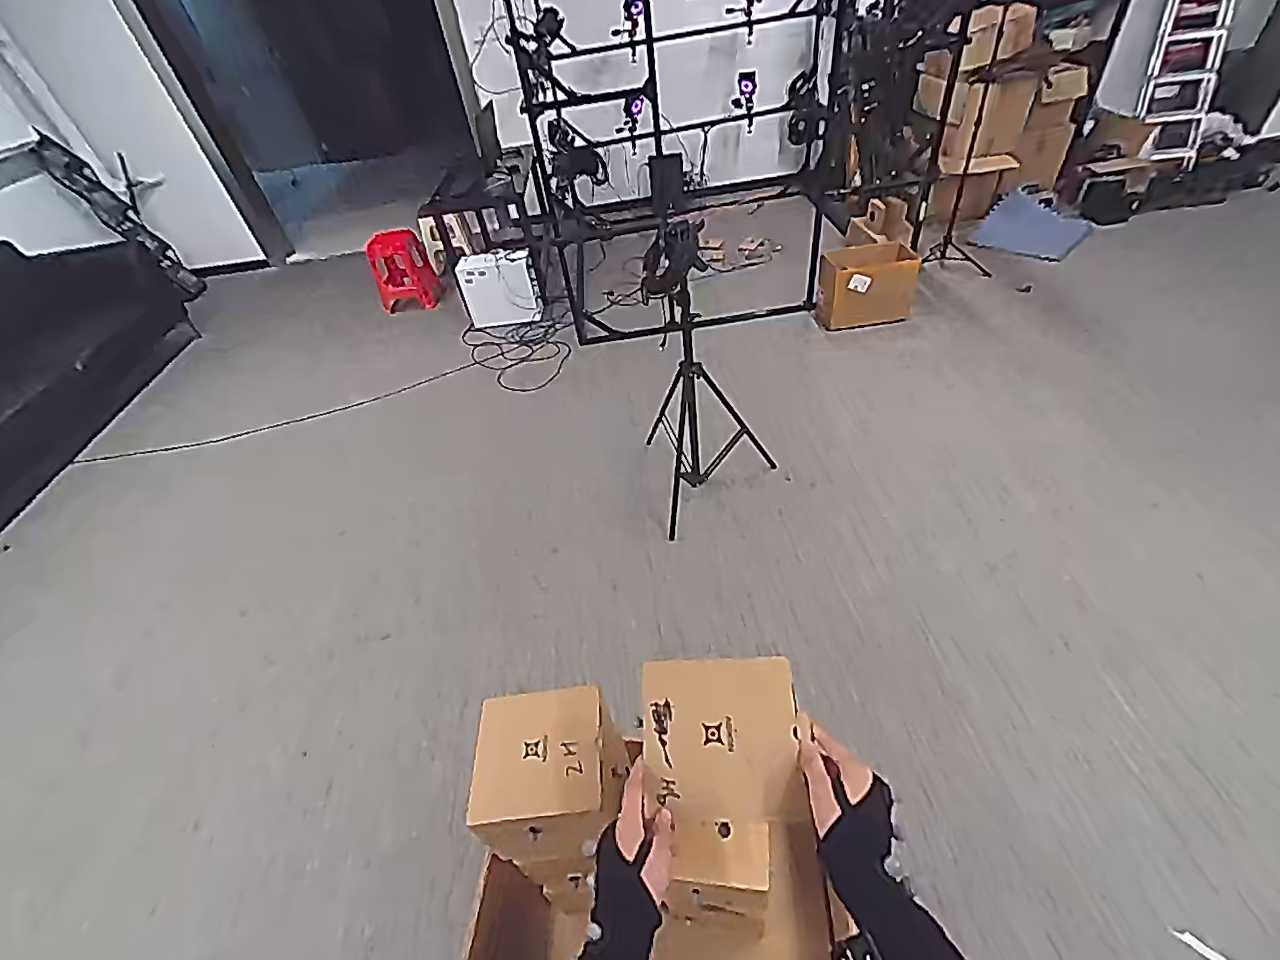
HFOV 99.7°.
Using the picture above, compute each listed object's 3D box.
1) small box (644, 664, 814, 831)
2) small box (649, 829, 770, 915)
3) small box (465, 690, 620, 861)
[{"bbox_3d":[0.097,0.328,0.661,0.179,0.176,0.168,-3,58,4],"label":"small box"},{"bbox_3d":[0.117,0.553,0.847,0.168,0.176,0.179,-1,42,12],"label":"small box"},{"bbox_3d":[-0.129,0.429,0.782,0.179,0.176,0.168,-7,43,1],"label":"small box"}]
